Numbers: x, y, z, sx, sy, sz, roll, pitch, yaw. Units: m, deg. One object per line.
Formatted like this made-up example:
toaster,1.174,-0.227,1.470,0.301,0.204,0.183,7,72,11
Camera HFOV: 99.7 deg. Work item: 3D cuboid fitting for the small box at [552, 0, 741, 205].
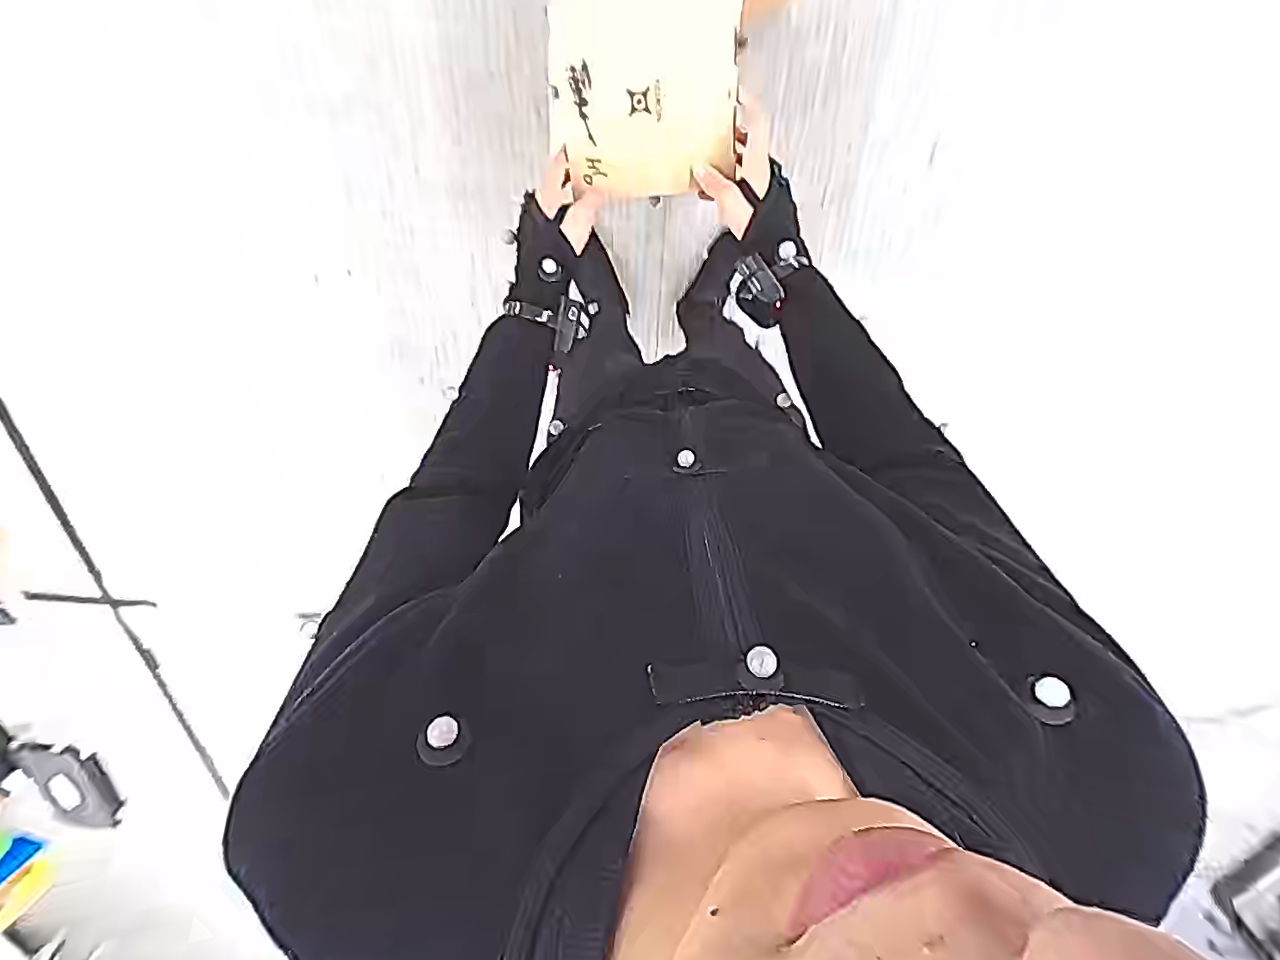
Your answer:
small box,0.010,-0.408,0.598,0.179,0.176,0.168,-4,121,3
